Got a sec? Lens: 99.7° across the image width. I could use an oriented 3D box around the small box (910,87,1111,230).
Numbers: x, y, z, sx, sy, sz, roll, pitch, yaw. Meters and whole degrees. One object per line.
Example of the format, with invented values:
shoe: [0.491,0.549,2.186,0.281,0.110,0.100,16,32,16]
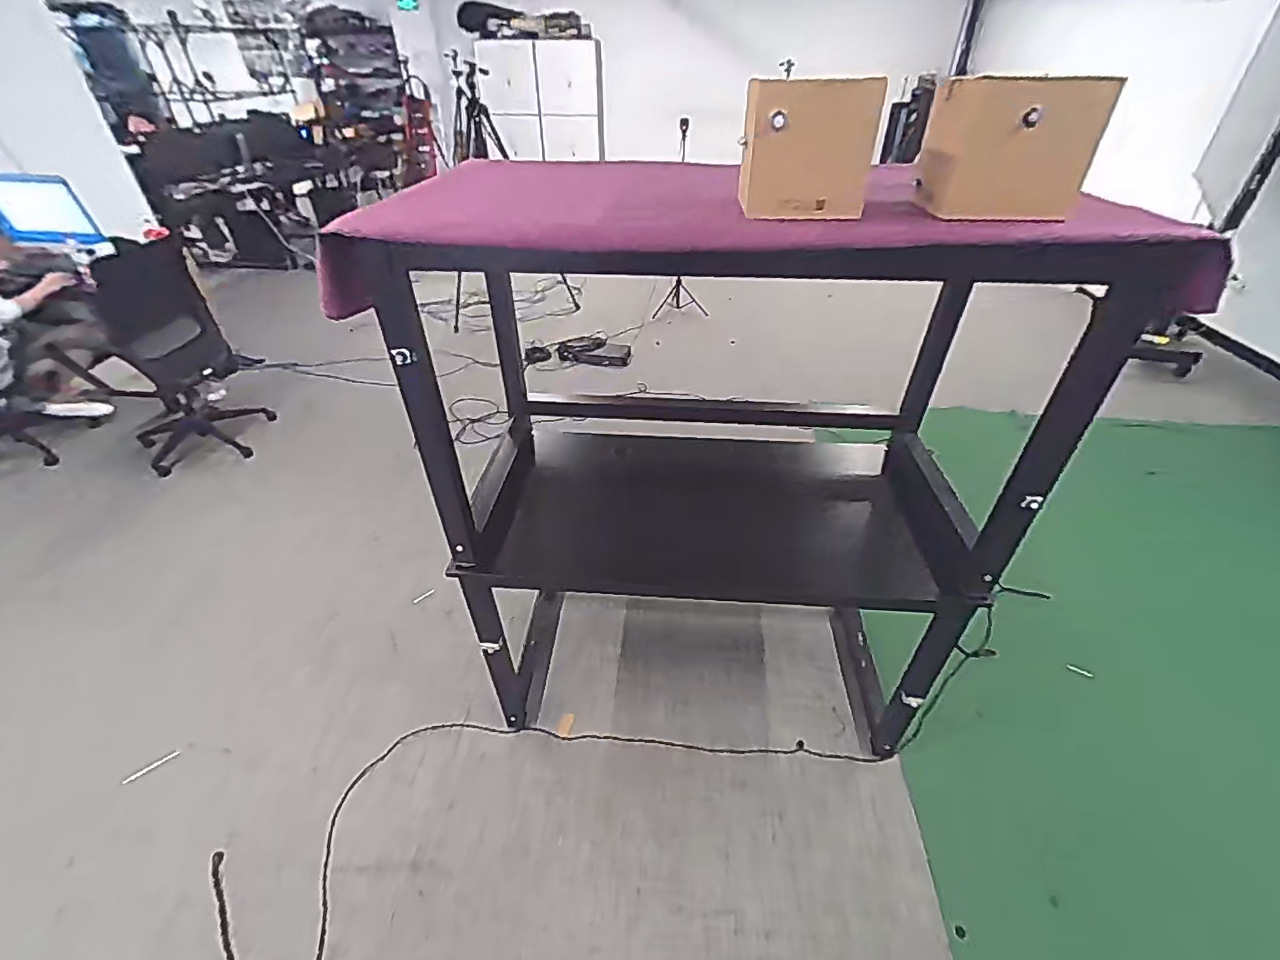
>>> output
small box: [0.525,-0.478,0.804,0.179,0.176,0.168,3,37,4]
